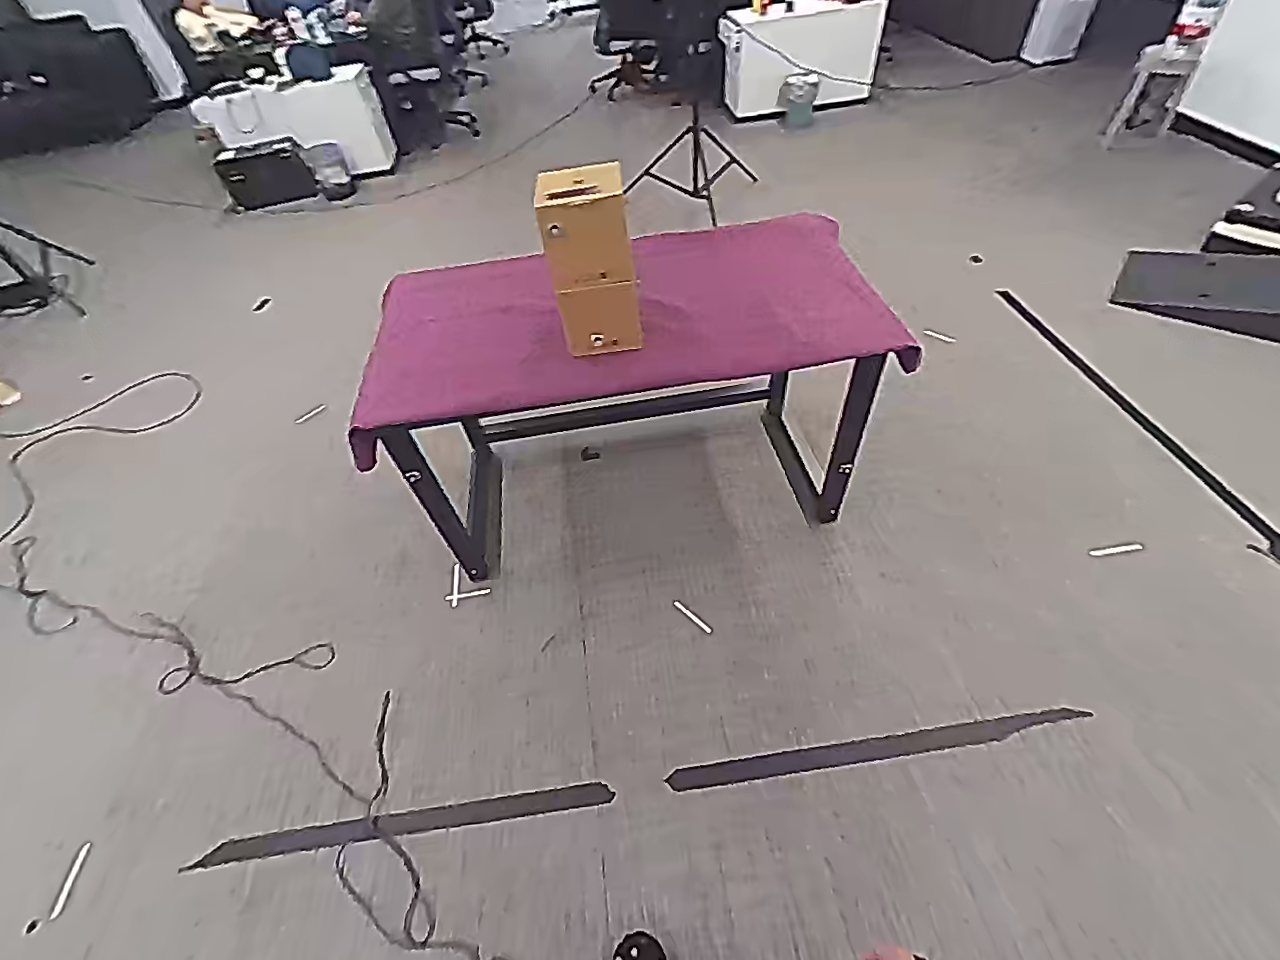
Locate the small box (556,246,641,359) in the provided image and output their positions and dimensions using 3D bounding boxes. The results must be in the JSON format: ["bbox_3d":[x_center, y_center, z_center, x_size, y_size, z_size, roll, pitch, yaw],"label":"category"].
[{"bbox_3d":[-0.092,-0.398,1.219,0.168,0.176,0.179,-8,50,1],"label":"small box"}]
